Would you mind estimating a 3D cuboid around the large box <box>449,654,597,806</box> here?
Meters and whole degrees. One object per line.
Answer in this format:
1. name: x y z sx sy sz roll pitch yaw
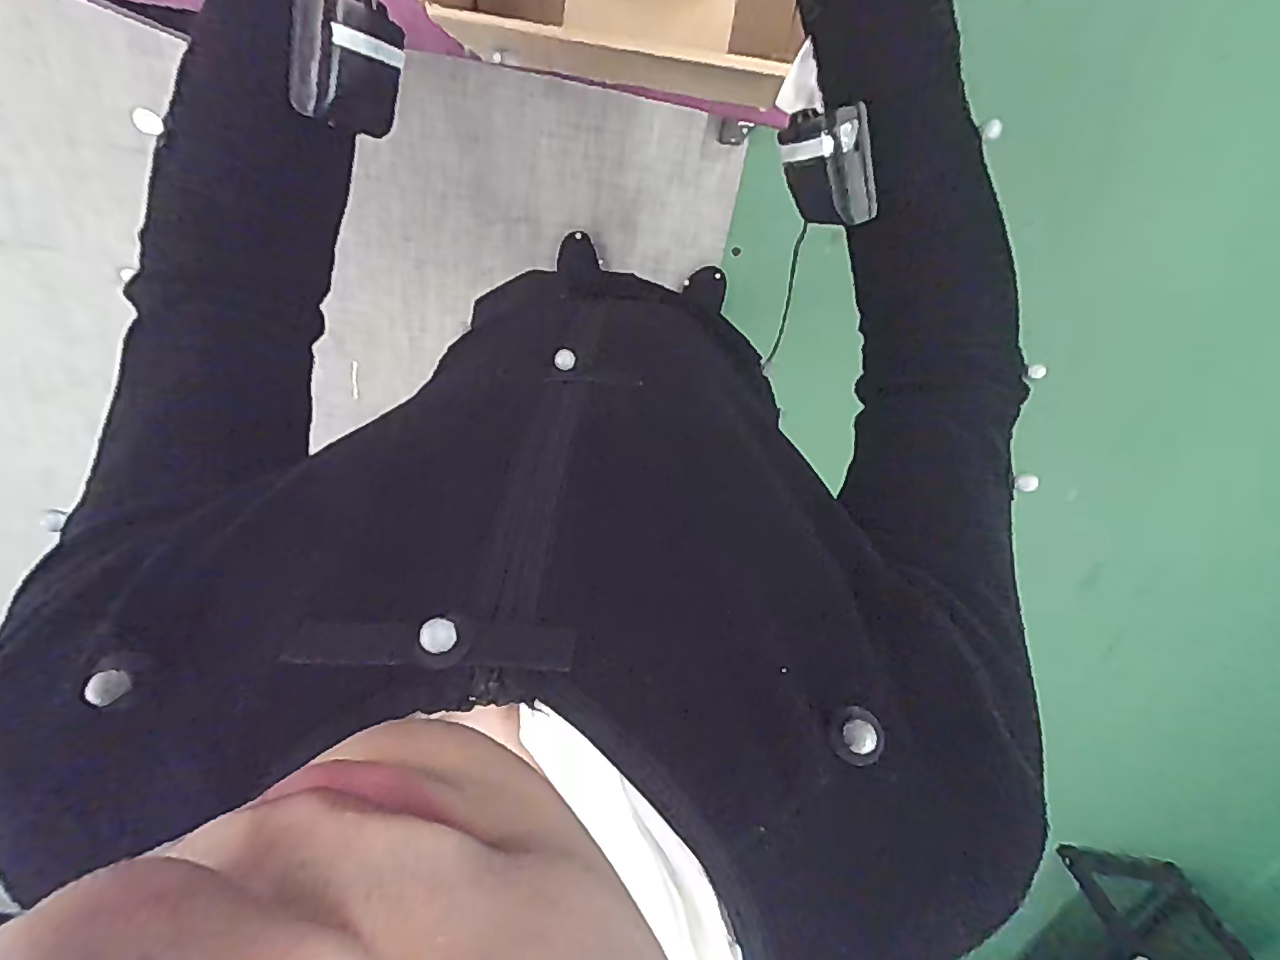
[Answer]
1. large box: -0.410 0.908 1.981 0.408 0.320 0.320 -22 113 10
